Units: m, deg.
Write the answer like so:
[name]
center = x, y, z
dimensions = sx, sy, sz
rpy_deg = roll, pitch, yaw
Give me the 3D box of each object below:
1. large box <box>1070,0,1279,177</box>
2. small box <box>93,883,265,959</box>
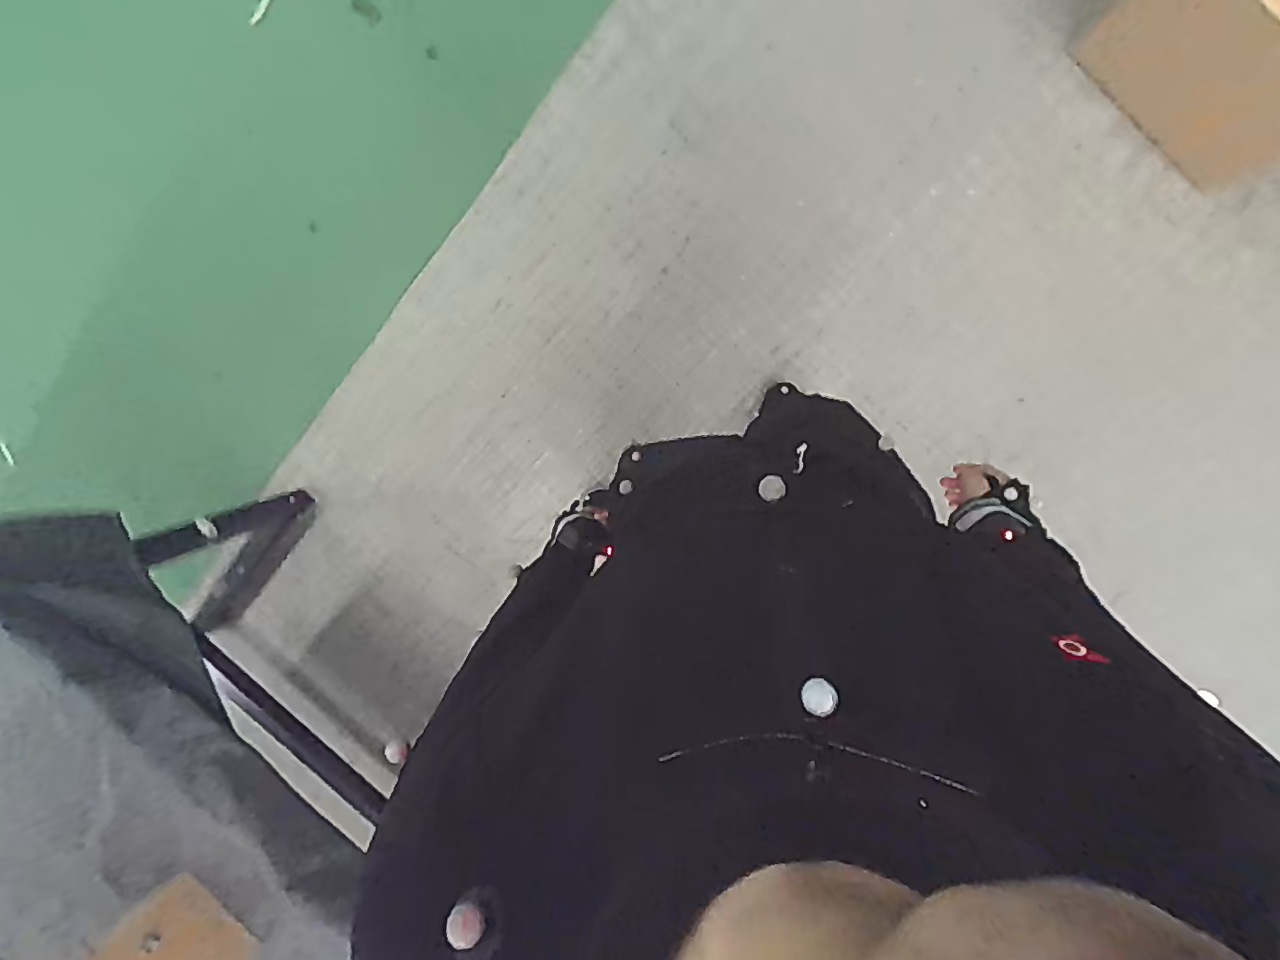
[large box]
center = 1.057, -0.801, 0.883
dimensions = 0.408, 0.320, 0.320
rpy_deg = 41, 106, -3
[small box]
center = -0.723, 0.749, 0.805
dimensions = 0.168, 0.176, 0.179
rpy_deg = -39, 95, 16
